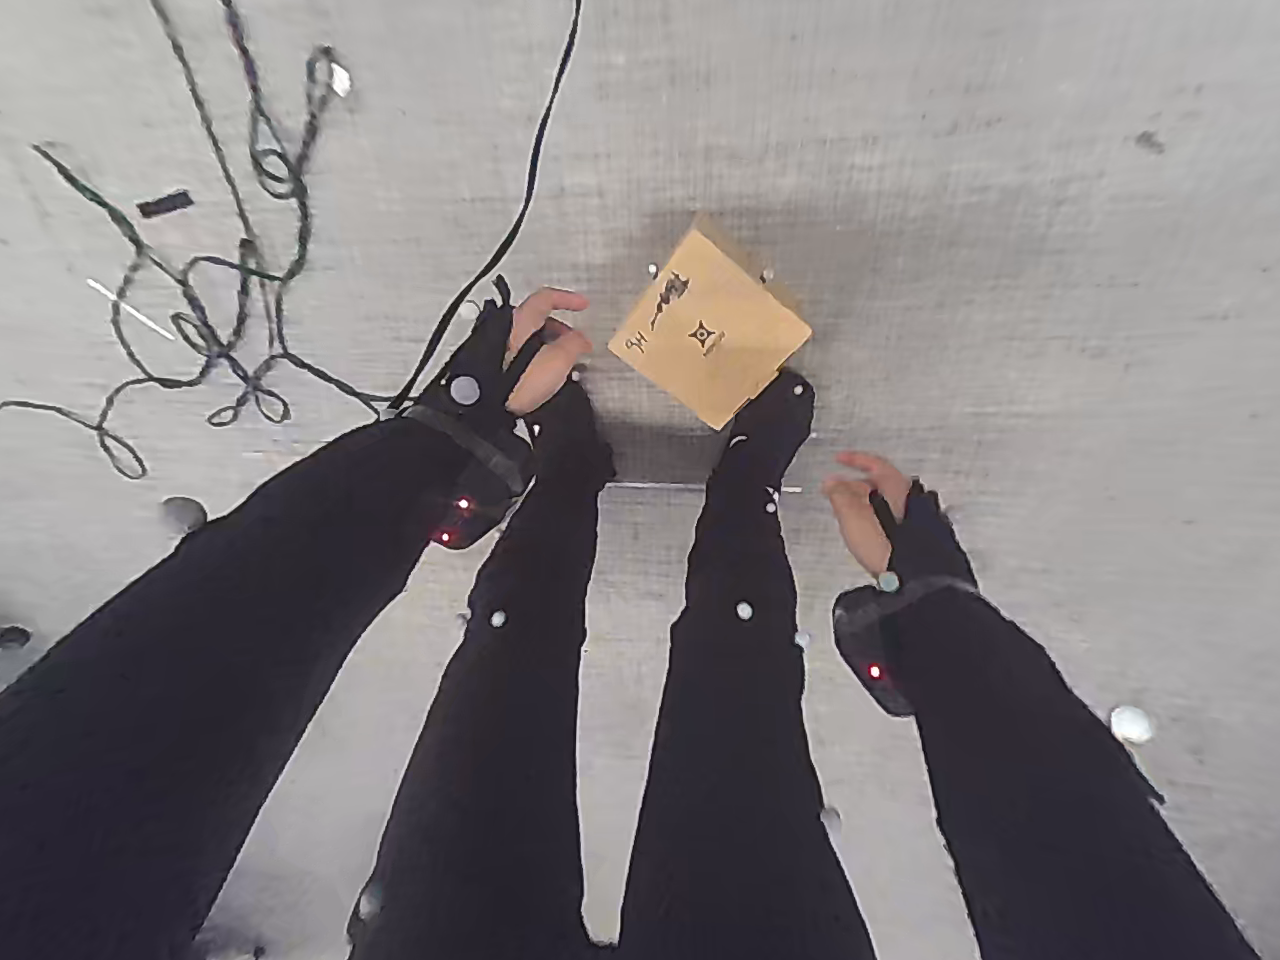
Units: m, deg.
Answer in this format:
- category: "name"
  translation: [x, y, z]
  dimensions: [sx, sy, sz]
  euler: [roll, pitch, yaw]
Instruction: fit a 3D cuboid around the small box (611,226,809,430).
- category: "small box"
  translation: [0.090, -0.203, 0.701]
  dimensions: [0.179, 0.176, 0.168]
  euler: [35, 119, -13]
